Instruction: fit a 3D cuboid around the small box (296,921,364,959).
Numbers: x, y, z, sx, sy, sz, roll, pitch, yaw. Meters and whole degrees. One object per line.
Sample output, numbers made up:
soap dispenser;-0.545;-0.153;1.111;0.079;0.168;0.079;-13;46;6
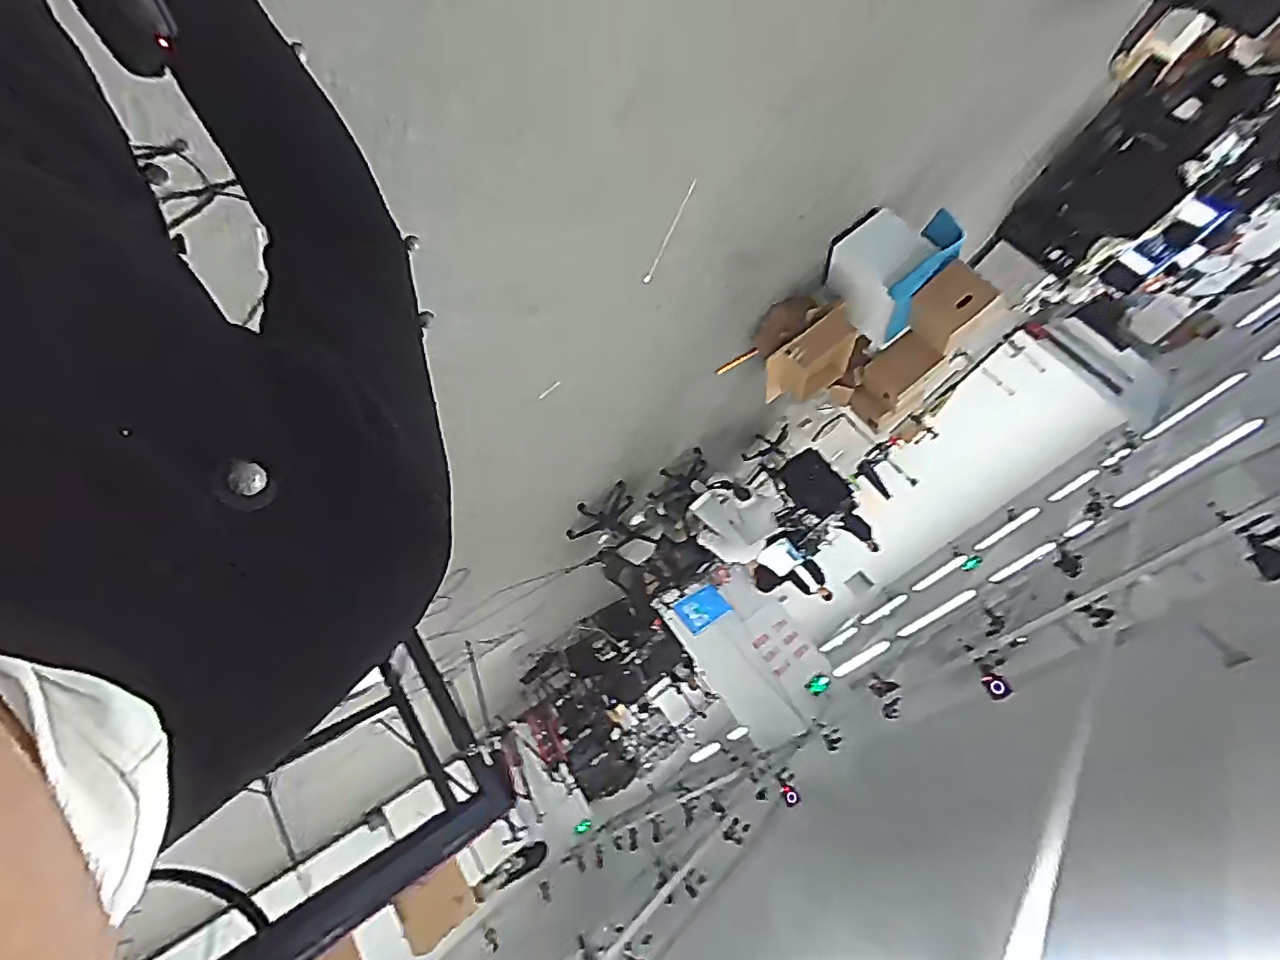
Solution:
small box;-0.807;1.274;1.365;0.179;0.176;0.168;-18;153;-46
